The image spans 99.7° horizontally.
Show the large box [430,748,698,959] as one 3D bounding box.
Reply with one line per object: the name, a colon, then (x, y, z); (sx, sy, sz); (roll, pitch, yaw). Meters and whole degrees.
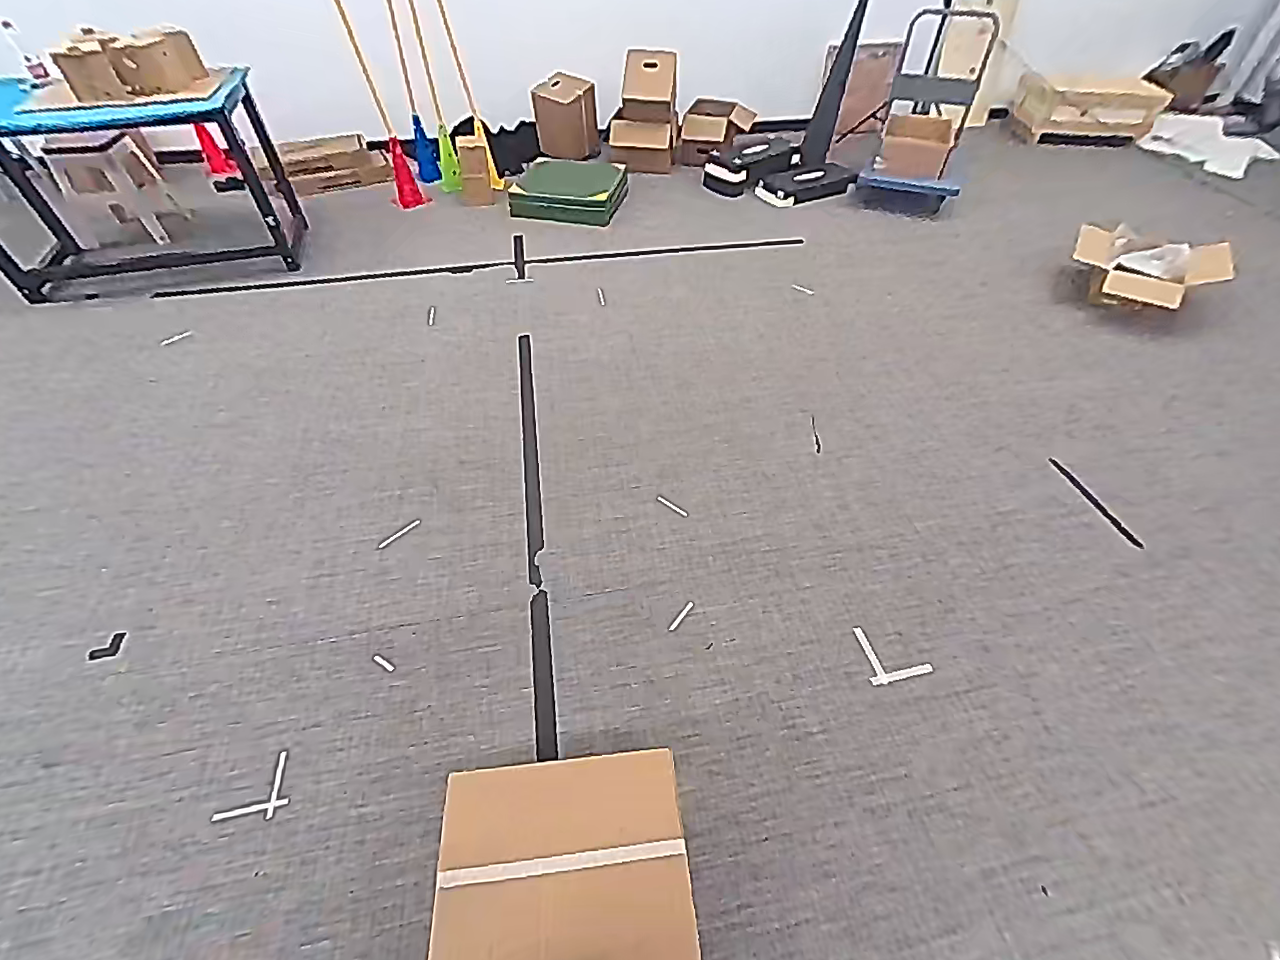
large box: (-0.129, 0.727, 0.996); (0.408, 0.320, 0.320); (-4, 47, -5)
